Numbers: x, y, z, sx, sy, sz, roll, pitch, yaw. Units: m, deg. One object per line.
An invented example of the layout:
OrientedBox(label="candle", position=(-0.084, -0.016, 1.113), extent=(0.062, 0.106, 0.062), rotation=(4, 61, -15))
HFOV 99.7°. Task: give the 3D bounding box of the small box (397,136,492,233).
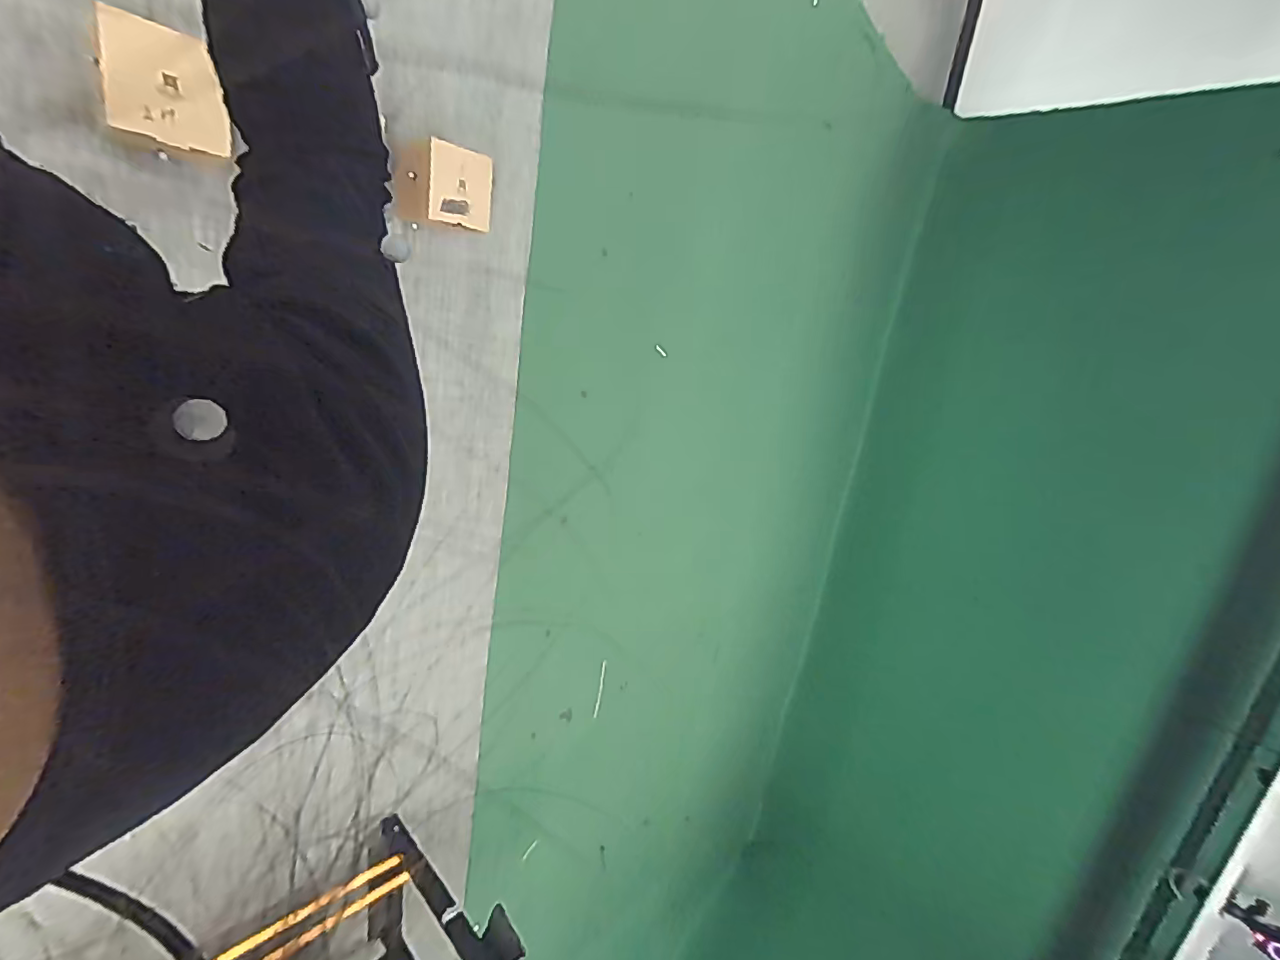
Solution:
OrientedBox(label="small box", position=(-0.492, -0.729, 1.354), extent=(0.168, 0.176, 0.179), rotation=(-9, 113, -47))

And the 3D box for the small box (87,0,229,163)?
OrientedBox(label="small box", position=(-0.848, -0.685, 0.954), extent=(0.168, 0.176, 0.179), rotation=(-7, 112, -47))
